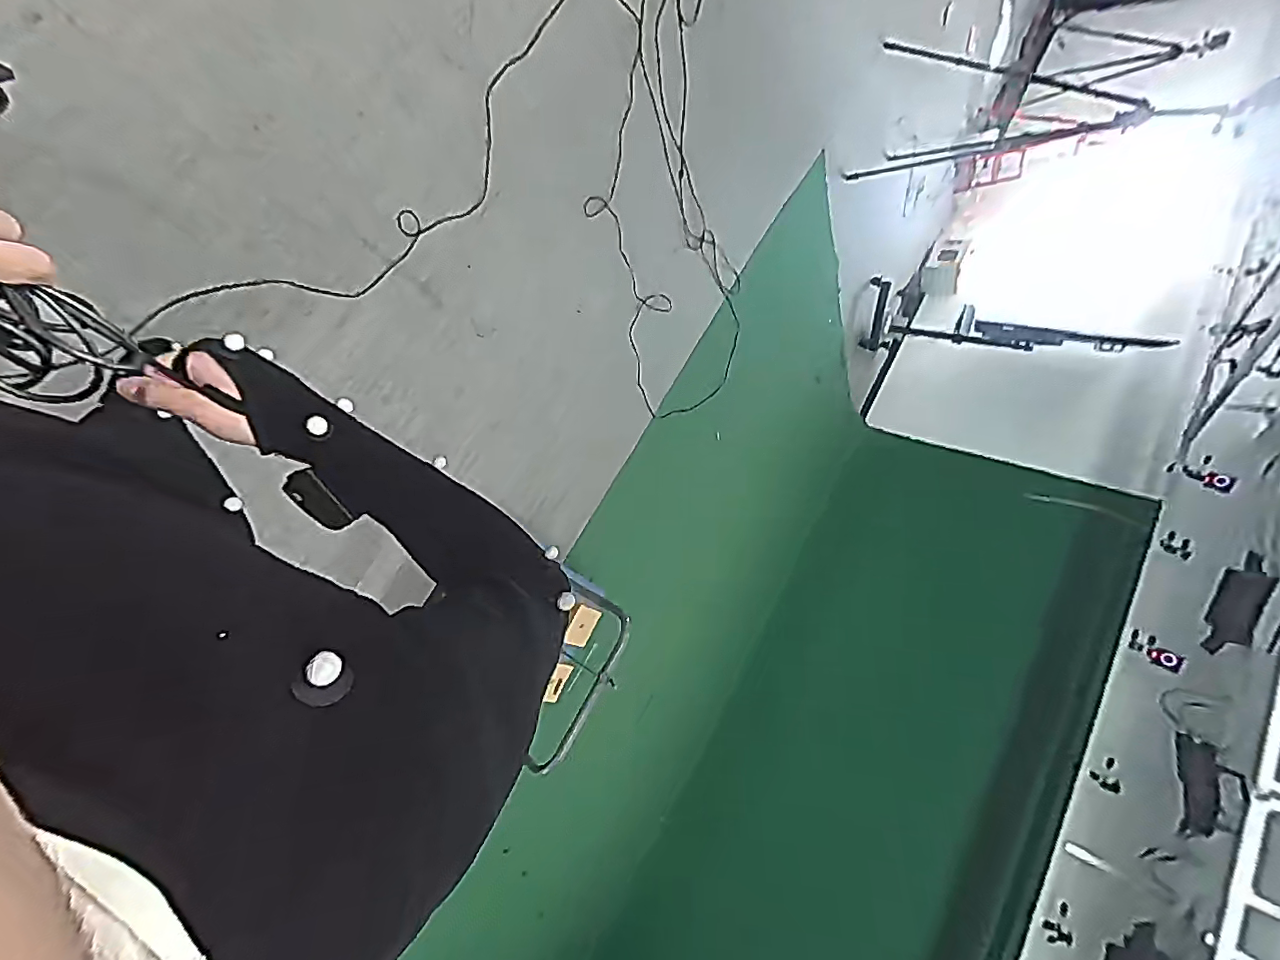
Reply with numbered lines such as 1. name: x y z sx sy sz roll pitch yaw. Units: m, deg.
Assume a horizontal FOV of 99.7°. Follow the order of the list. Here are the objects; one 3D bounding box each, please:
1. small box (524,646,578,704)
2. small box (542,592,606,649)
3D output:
1. small box: -0.399 0.813 2.262 0.168 0.176 0.179 -62 144 -11
2. small box: -0.283 0.595 2.305 0.168 0.176 0.179 -61 145 -10
